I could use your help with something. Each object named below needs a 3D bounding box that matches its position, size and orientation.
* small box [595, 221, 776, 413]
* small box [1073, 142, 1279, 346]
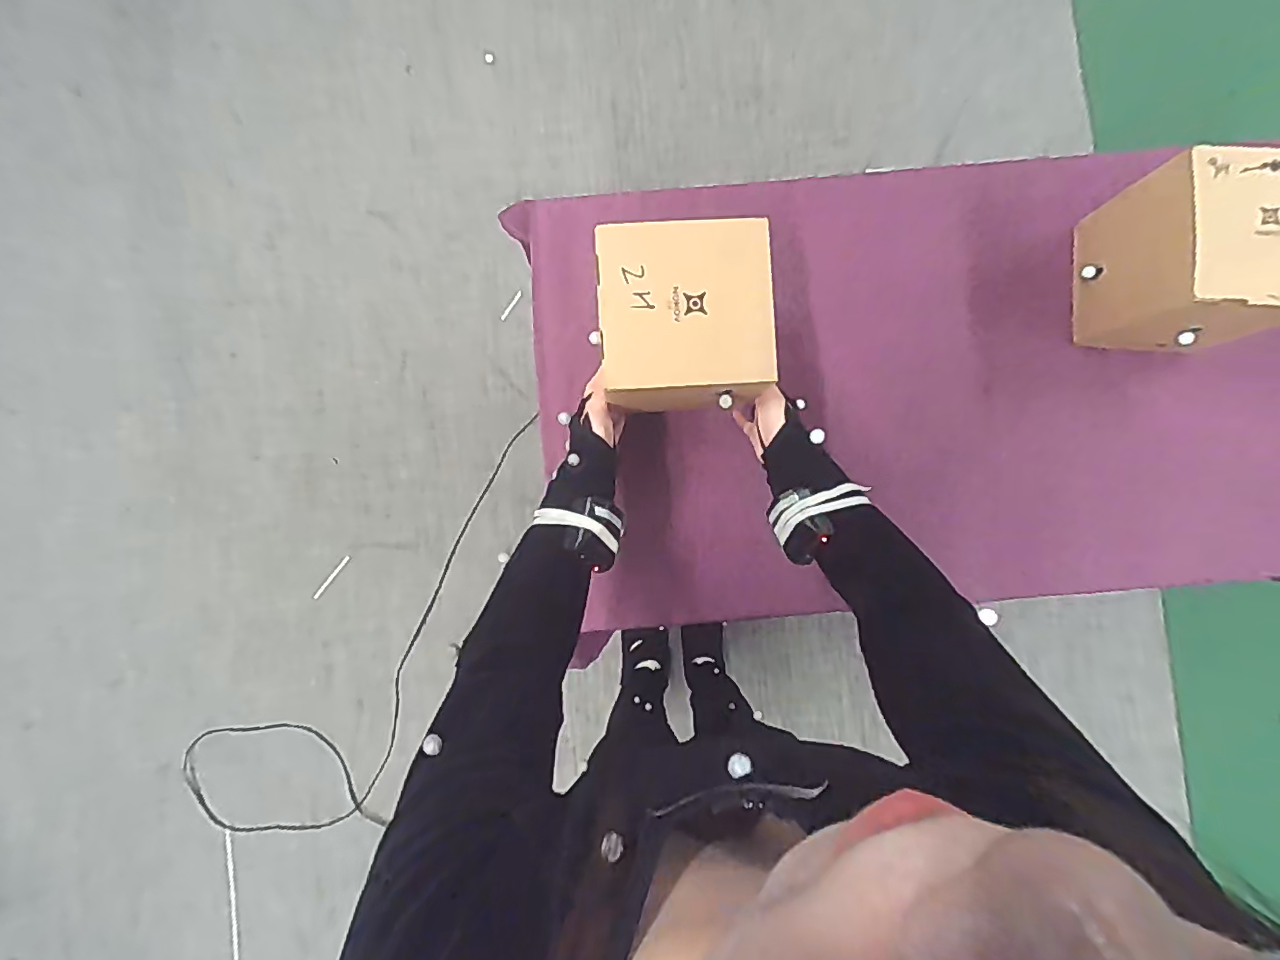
[{"bbox_3d":[0.044,-0.171,0.612,0.179,0.176,0.168,-3,88,0],"label":"small box"},{"bbox_3d":[0.674,-0.272,0.660,0.168,0.176,0.179,3,87,1],"label":"small box"}]
